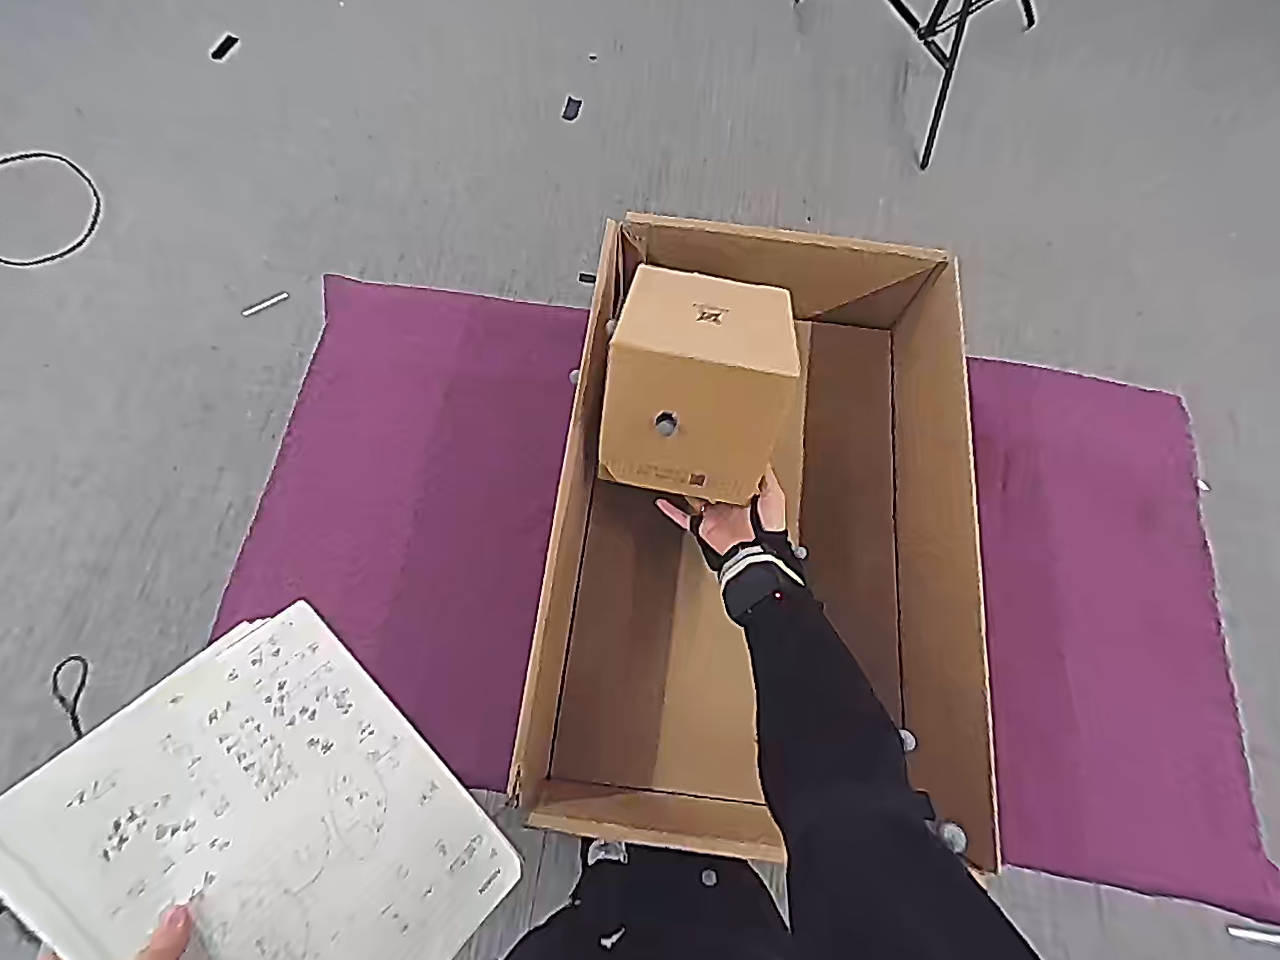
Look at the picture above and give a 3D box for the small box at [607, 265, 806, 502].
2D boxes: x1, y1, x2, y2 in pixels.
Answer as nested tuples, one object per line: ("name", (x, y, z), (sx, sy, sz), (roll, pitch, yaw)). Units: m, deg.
("small box", (0.063, -0.100, 0.570), (0.168, 0.176, 0.179), (11, 42, 0))
